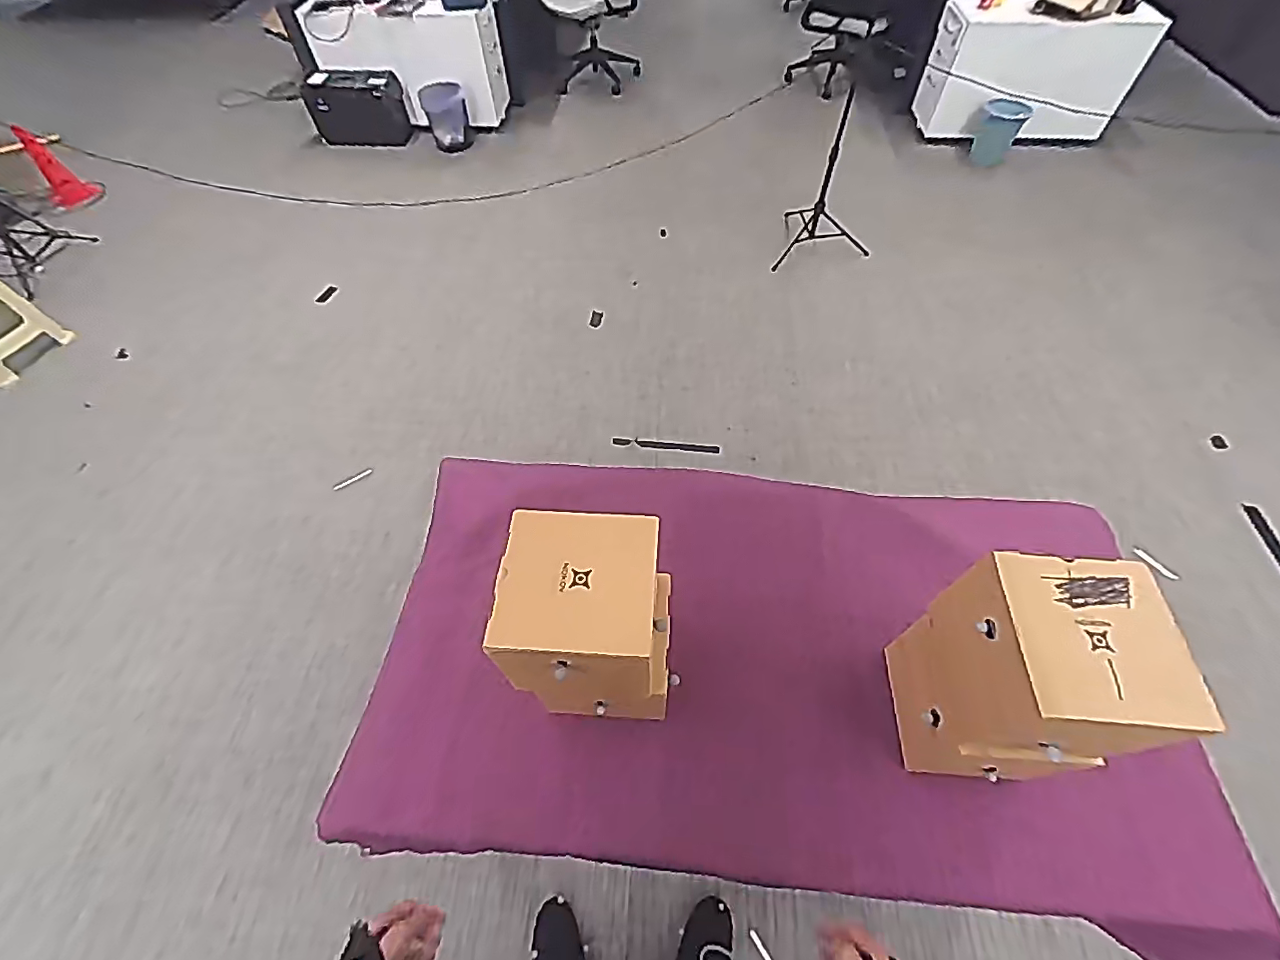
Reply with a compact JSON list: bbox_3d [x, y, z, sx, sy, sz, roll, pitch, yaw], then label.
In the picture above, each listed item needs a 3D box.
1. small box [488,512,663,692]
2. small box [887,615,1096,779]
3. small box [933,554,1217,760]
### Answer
[{"bbox_3d":[-0.063,0.154,0.662,0.179,0.176,0.168,2,56,4],"label":"small box"},{"bbox_3d":[0.464,0.306,0.750,0.168,0.176,0.179,4,56,3],"label":"small box"},{"bbox_3d":[0.464,0.206,0.619,0.168,0.176,0.179,4,57,4],"label":"small box"}]
